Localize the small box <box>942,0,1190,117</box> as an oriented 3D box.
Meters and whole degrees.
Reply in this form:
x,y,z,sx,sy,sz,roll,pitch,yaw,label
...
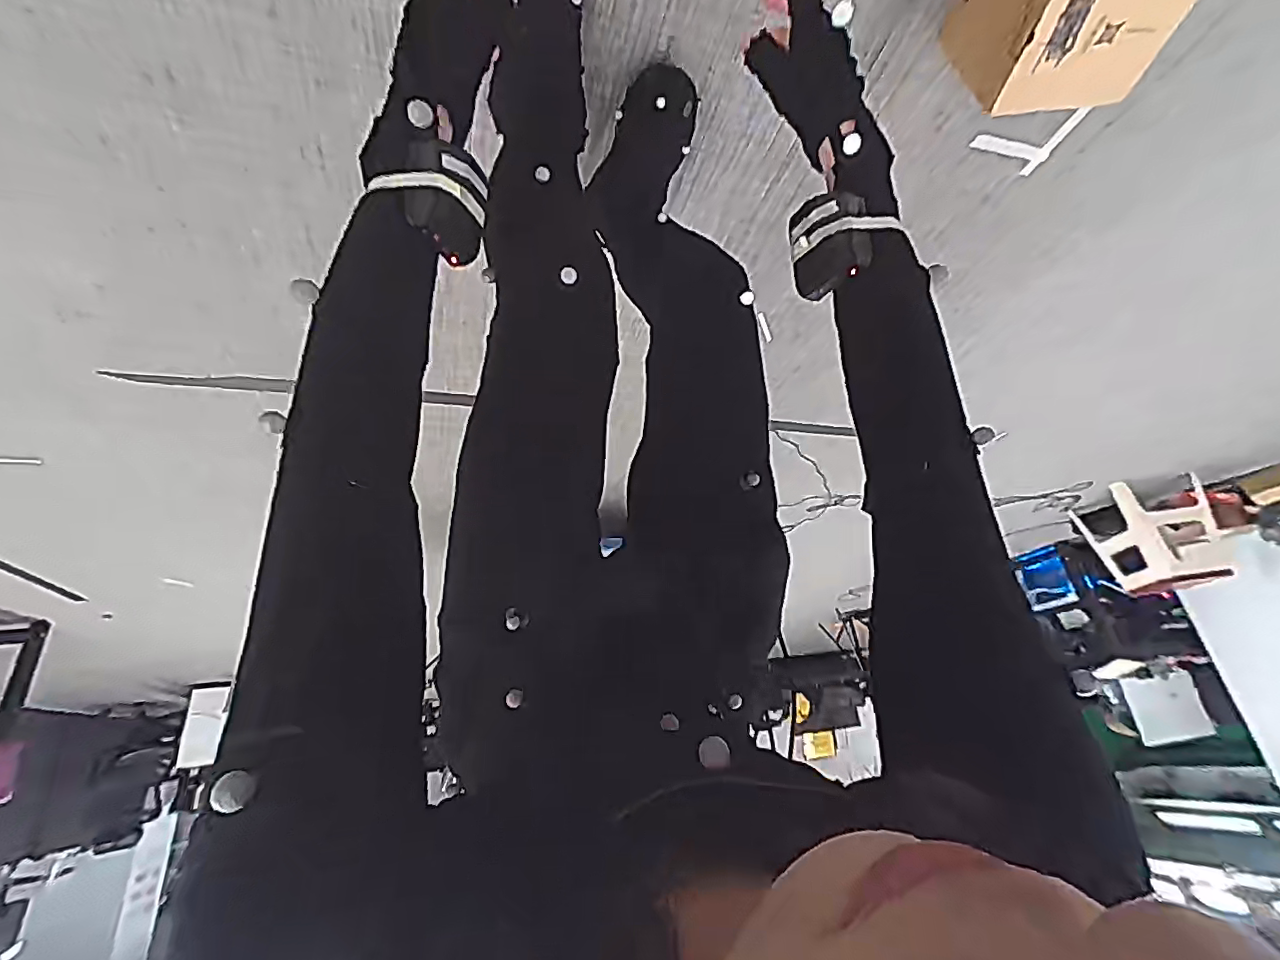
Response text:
x,y,z,sx,sy,sz,roll,pitch,yaw,label
0.495,-0.565,0.635,0.179,0.176,0.168,-7,155,-3,small box
